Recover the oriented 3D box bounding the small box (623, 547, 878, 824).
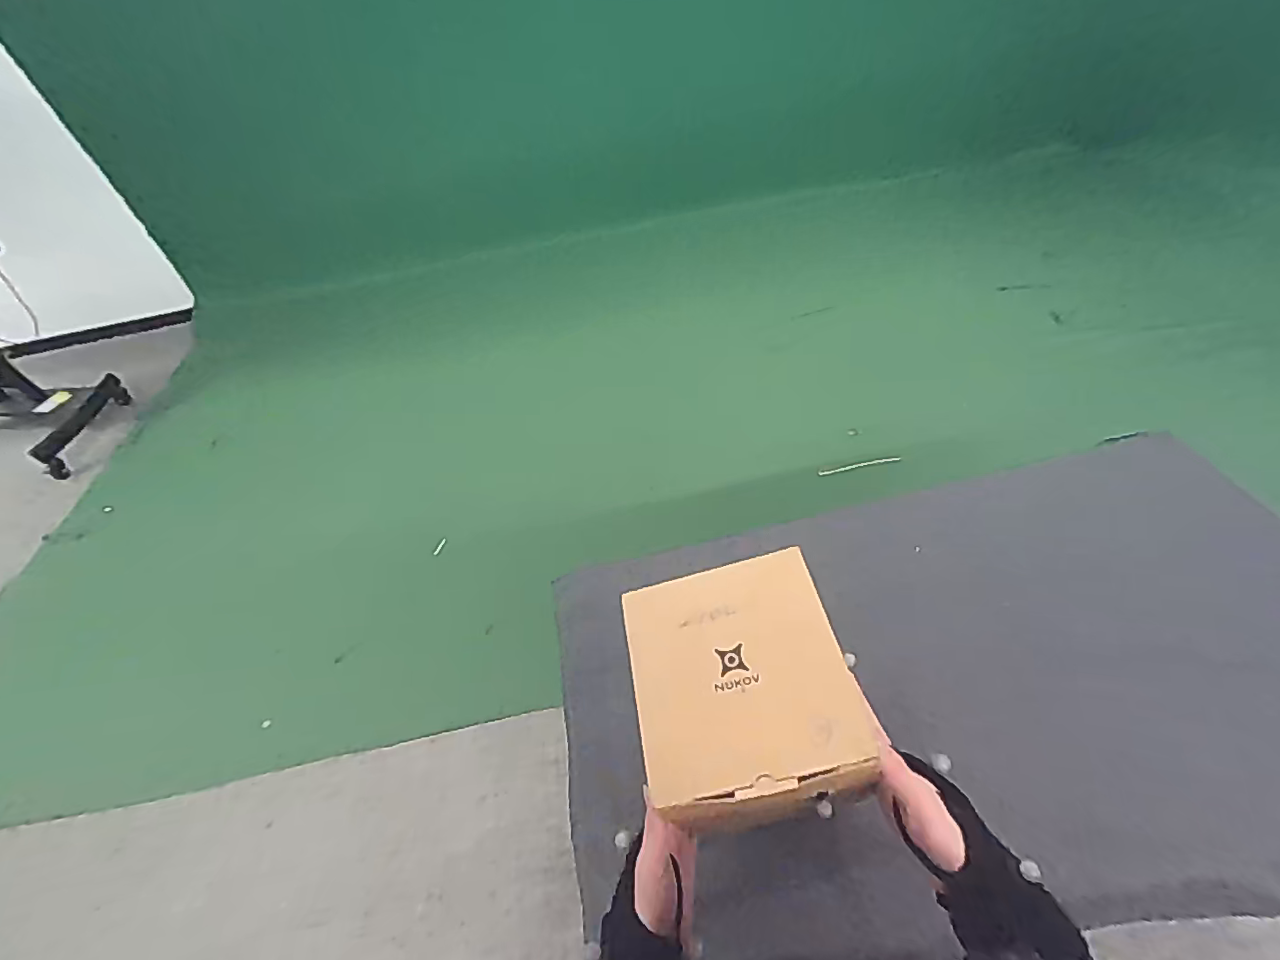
[{"bbox_3d":[0.094,0.192,0.486,0.168,0.176,0.179,-16,49,6],"label":"small box"}]
